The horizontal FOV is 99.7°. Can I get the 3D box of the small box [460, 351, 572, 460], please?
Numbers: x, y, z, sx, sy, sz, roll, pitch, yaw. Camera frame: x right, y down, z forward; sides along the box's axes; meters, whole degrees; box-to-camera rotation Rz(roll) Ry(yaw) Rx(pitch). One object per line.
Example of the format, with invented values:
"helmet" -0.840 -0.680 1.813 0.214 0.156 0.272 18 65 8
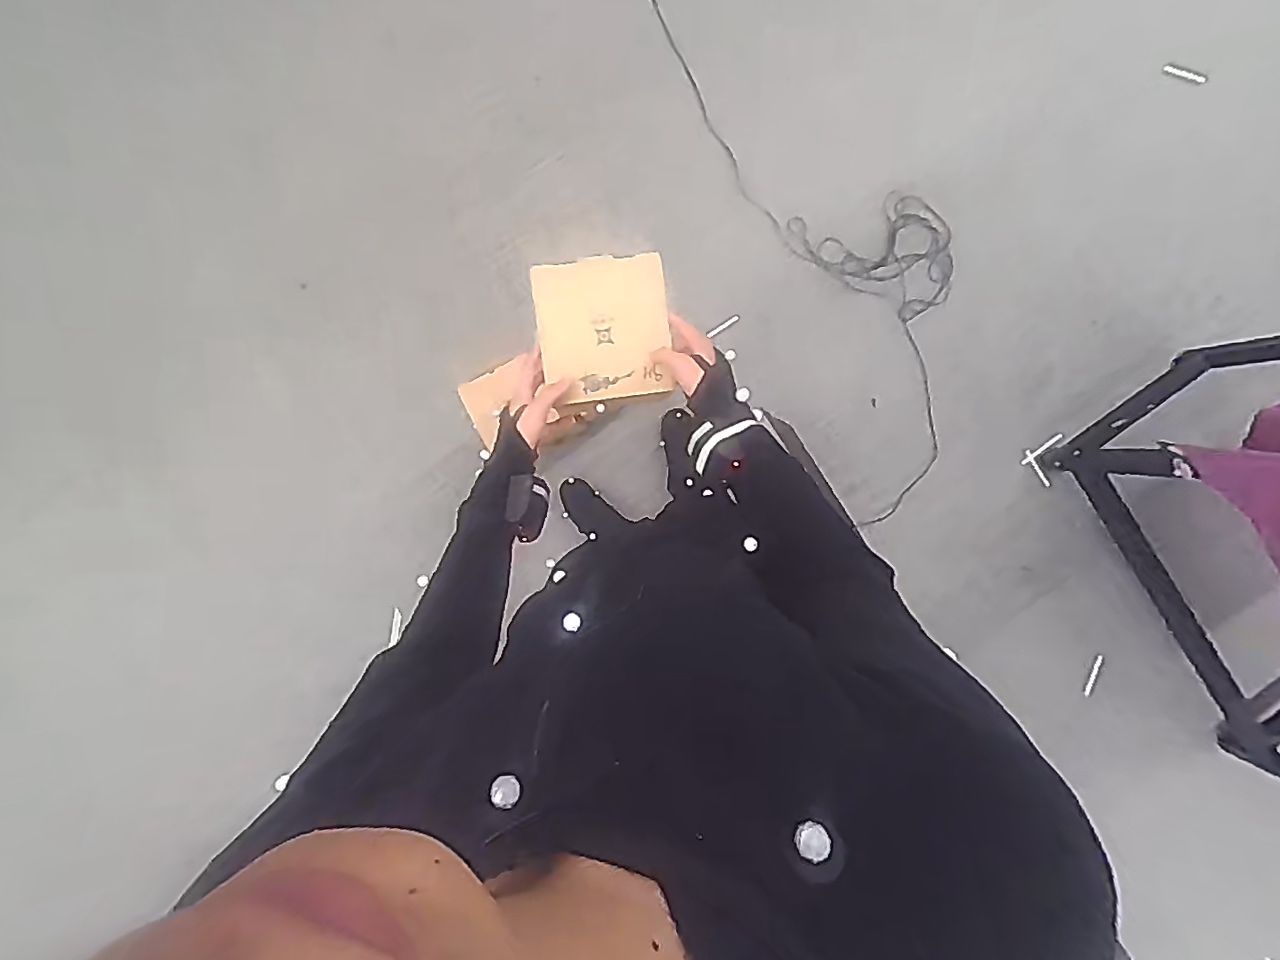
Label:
"small box" -0.262 -0.156 1.184 0.168 0.176 0.179 -27 95 1
